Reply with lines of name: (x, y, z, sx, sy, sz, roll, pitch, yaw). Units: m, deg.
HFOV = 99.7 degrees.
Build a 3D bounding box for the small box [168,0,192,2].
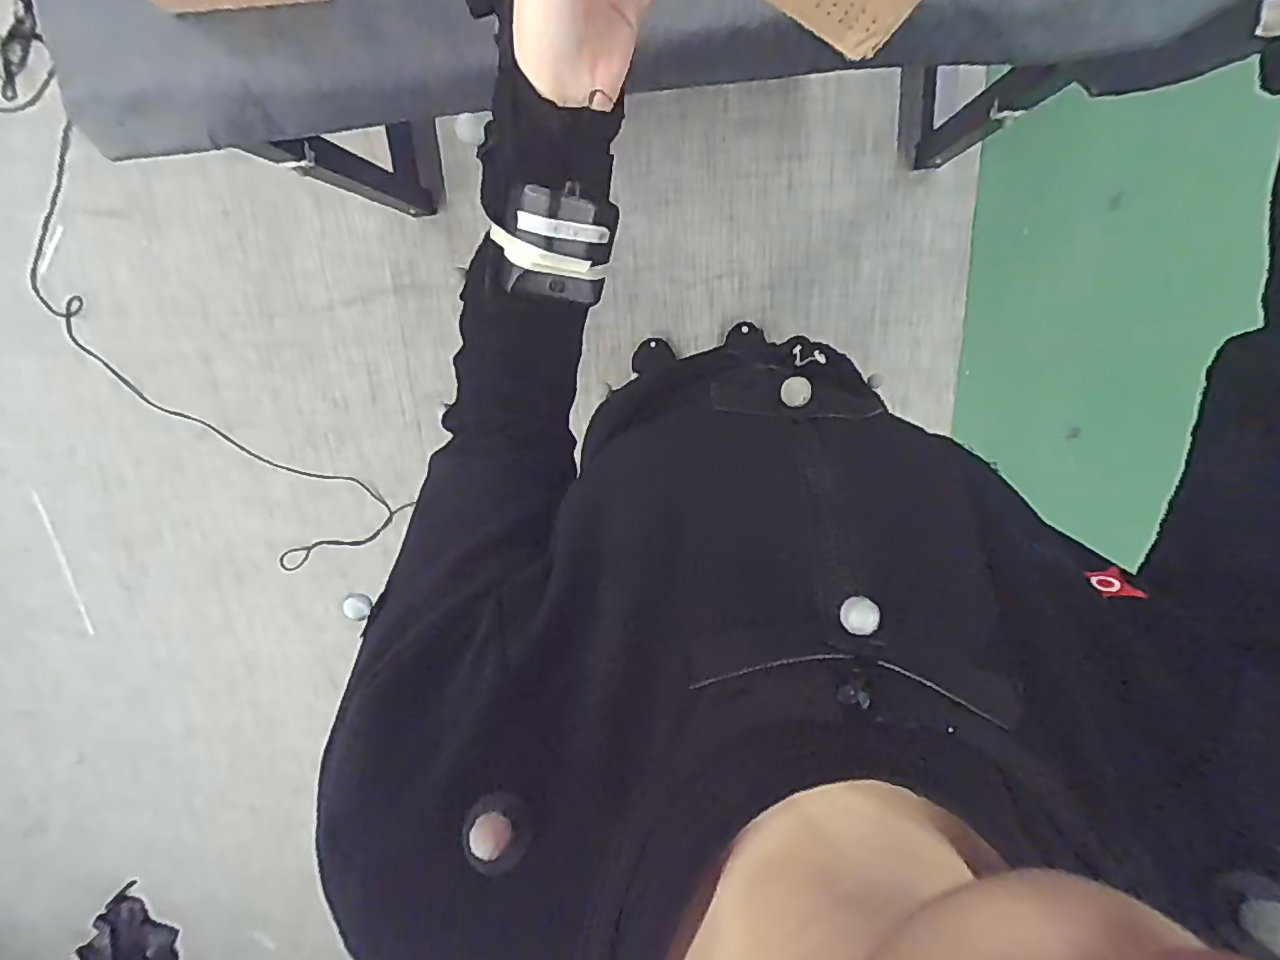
small box: (-0.390, -0.524, 0.426, 0.179, 0.176, 0.168, 0, 104, 5)
